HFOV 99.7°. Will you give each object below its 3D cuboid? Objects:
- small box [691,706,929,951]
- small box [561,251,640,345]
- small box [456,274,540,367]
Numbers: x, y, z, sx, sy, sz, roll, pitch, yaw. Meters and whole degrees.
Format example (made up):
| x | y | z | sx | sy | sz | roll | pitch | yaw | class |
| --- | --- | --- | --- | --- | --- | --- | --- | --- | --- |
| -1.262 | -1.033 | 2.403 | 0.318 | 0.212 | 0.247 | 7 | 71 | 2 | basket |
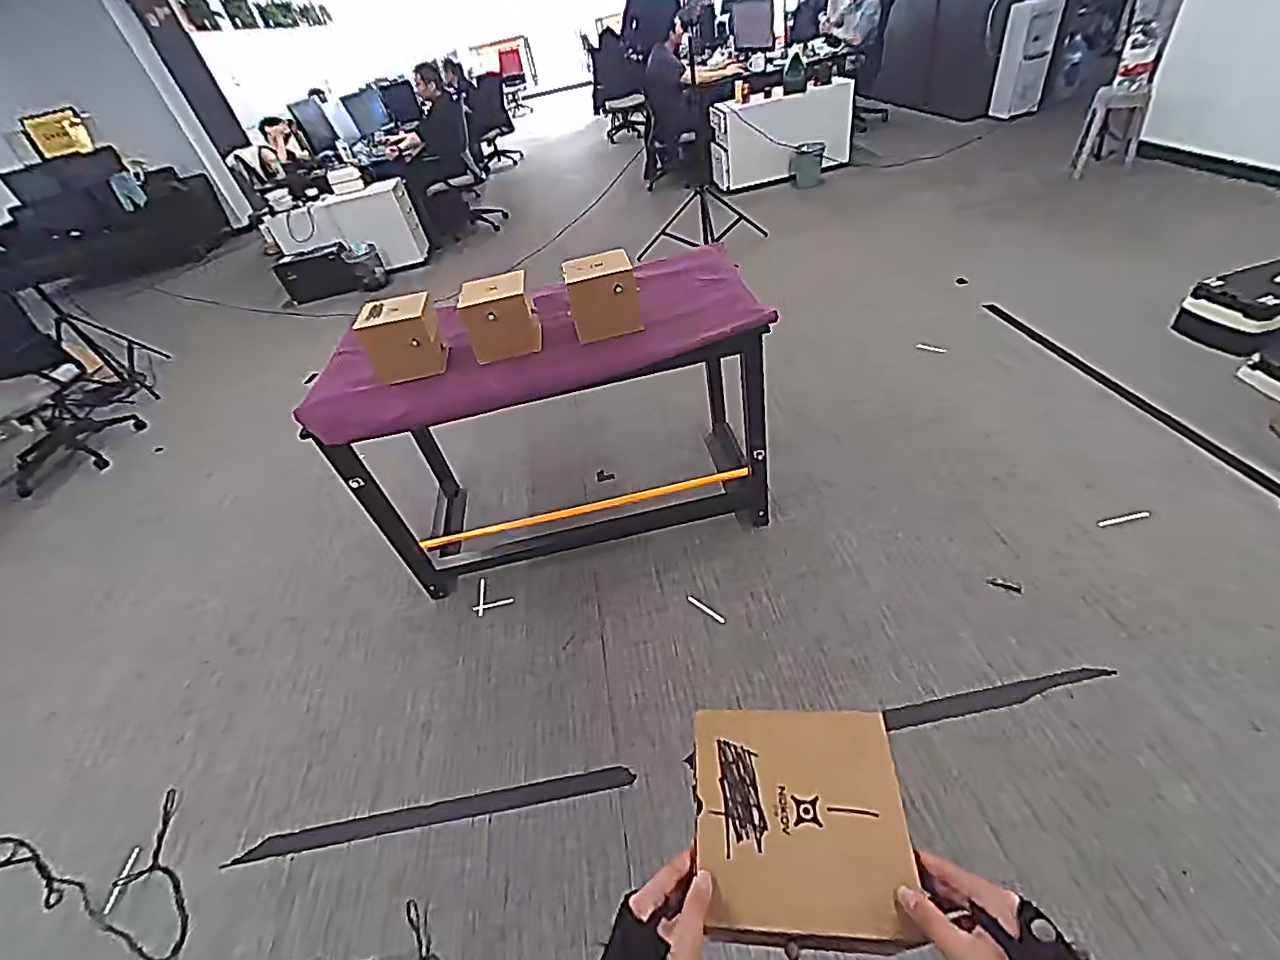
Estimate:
| x | y | z | sx | sy | sz | roll | pitch | yaw | class |
| --- | --- | --- | --- | --- | --- | --- | --- | --- | --- |
| 0.144 | 0.330 | 0.513 | 0.179 | 0.176 | 0.168 | -3 | 47 | 9 | small box |
| -0.102 | -0.485 | 1.448 | 0.179 | 0.176 | 0.168 | -14 | 40 | 0 | small box |
| -0.375 | -0.433 | 1.469 | 0.179 | 0.176 | 0.168 | -14 | 41 | 1 | small box |
